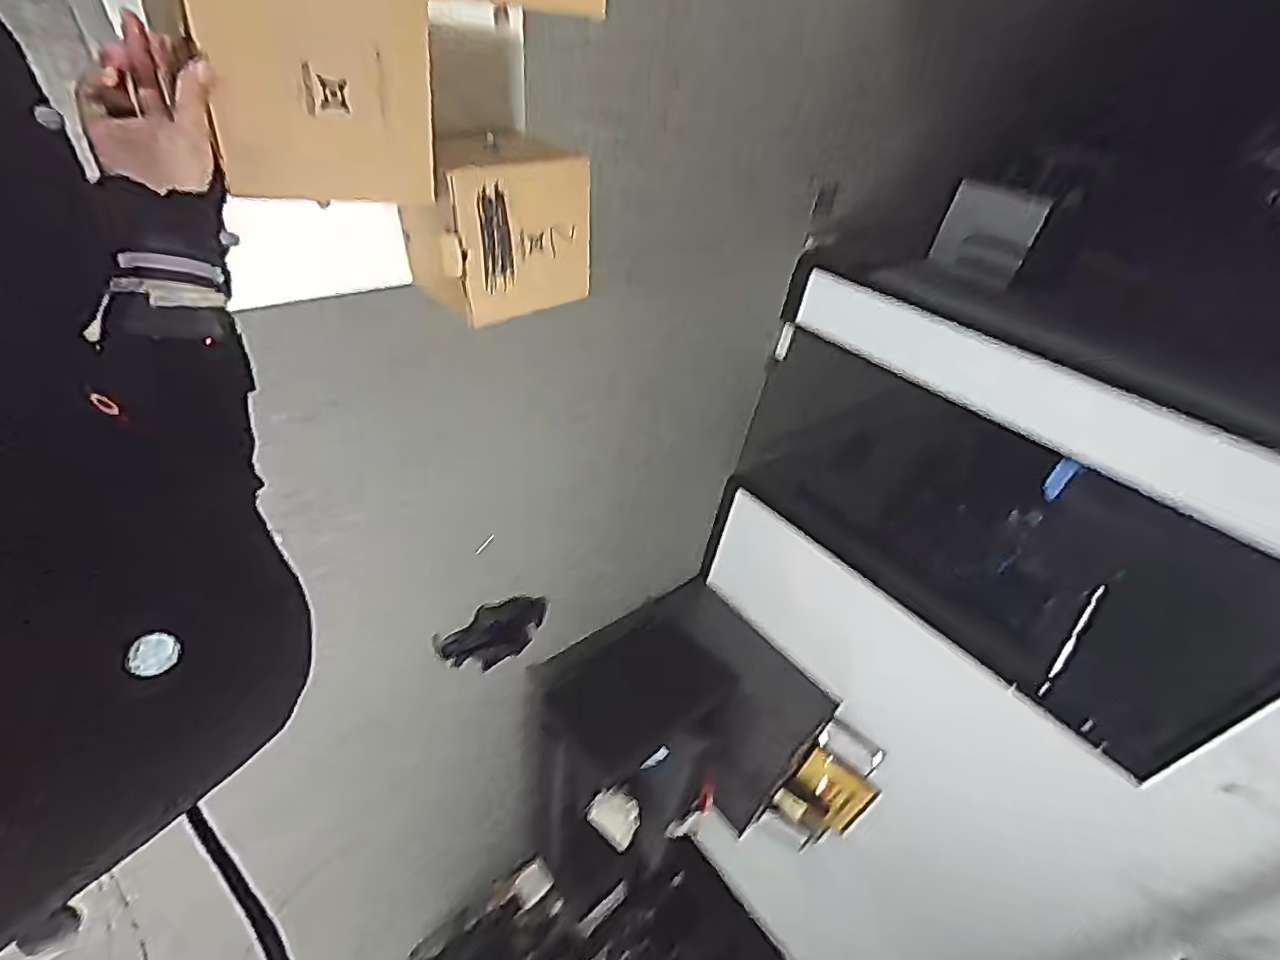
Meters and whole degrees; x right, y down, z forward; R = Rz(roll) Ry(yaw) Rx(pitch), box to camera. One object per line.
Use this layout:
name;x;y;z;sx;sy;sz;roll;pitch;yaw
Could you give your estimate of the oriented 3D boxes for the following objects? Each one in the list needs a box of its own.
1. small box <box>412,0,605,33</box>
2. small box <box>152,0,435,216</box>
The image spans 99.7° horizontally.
small box;-0.145;-0.535;0.497;0.179;0.176;0.168;-24;140;-32
small box;-0.307;-0.352;0.487;0.179;0.176;0.168;-21;138;-39
